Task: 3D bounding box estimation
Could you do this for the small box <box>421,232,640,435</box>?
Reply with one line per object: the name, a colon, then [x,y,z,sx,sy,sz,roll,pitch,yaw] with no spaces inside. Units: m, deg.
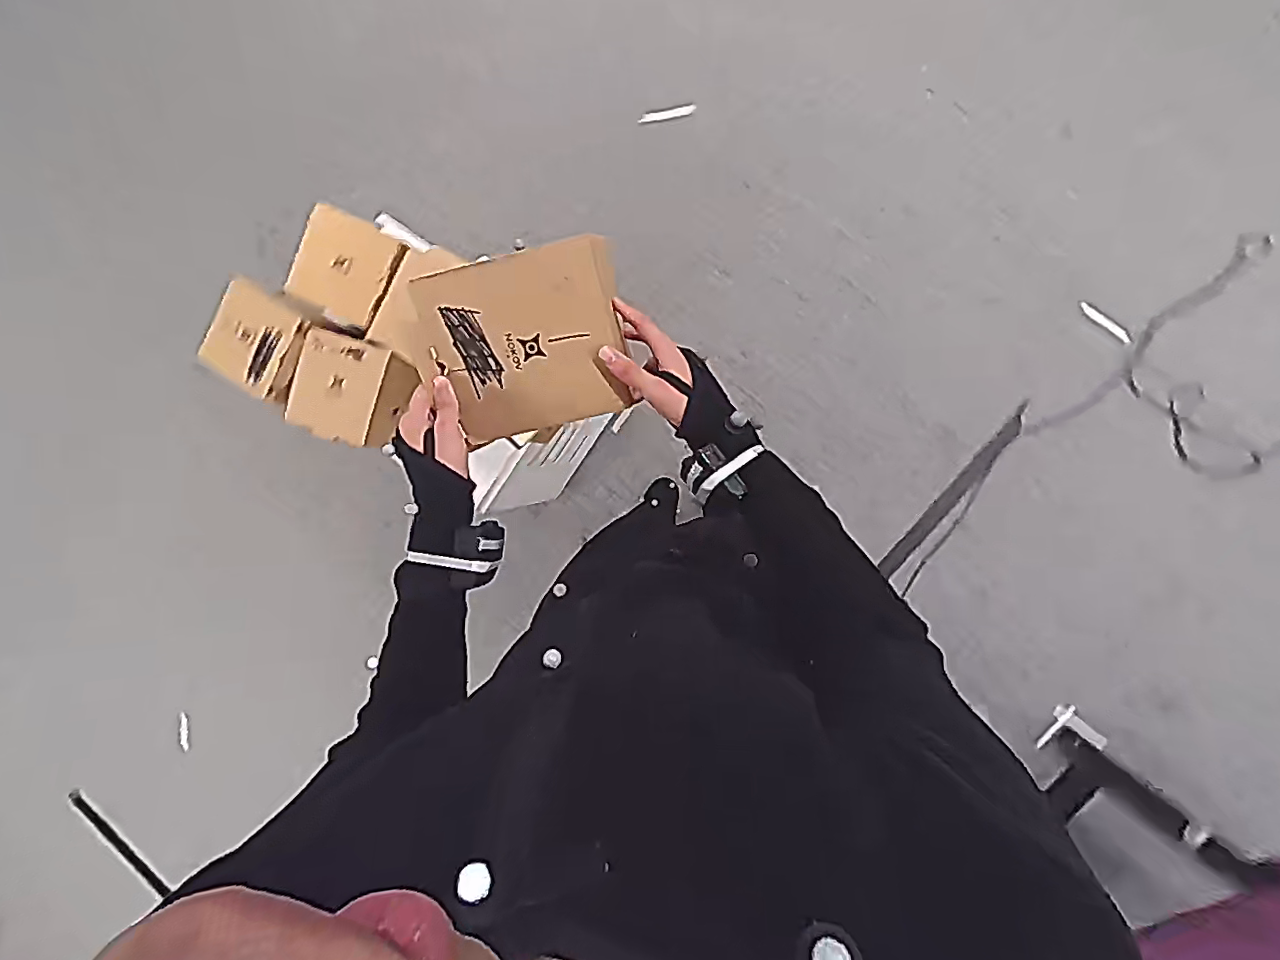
small box: [-0.102,-0.165,0.596,0.179,0.176,0.168,-11,113,6]
